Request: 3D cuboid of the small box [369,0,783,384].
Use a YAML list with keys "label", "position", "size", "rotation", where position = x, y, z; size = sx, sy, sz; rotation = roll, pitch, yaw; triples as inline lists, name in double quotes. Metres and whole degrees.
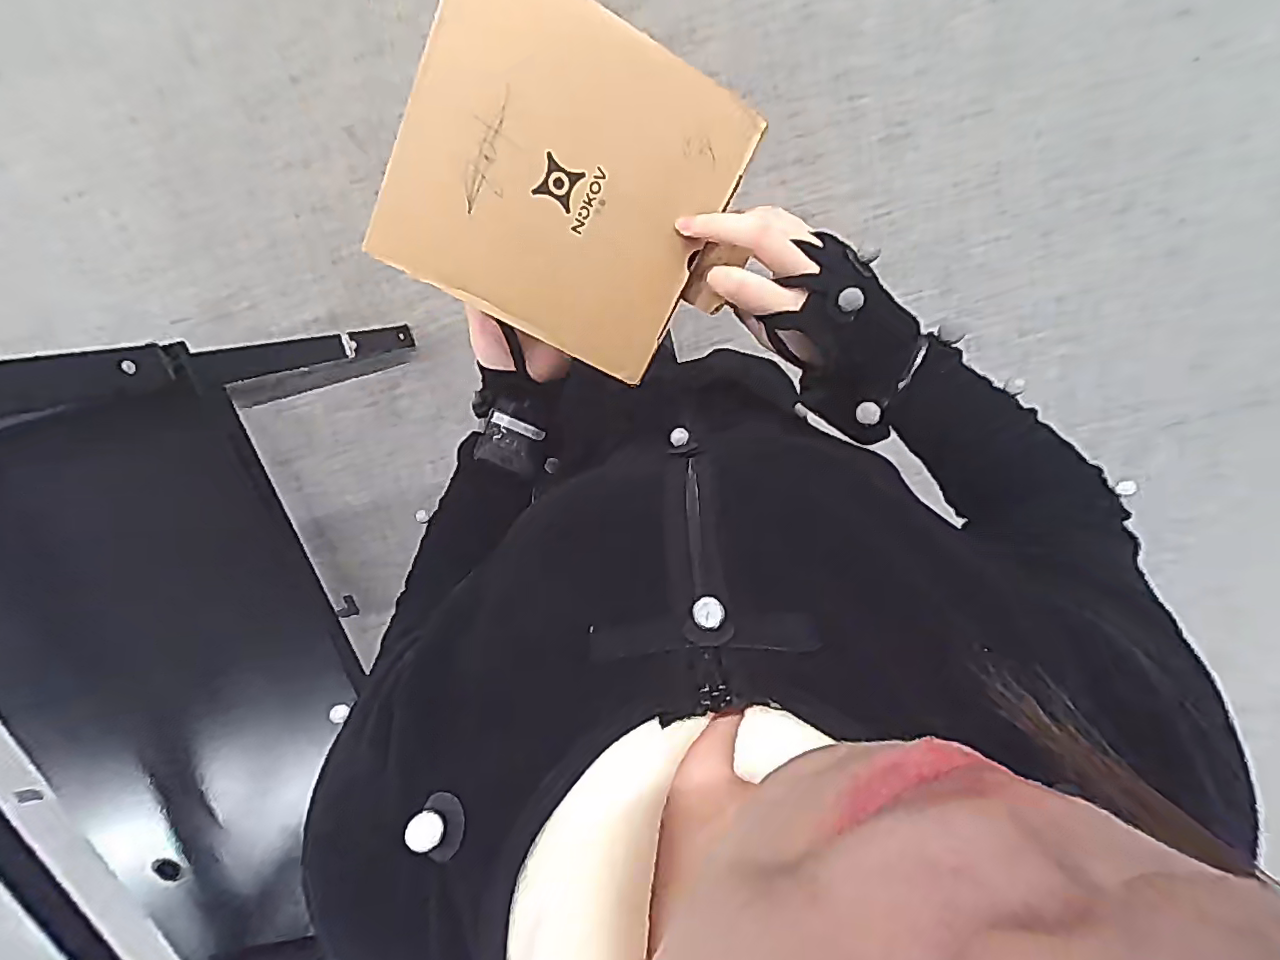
- label: "small box"
  position: [-0.042, -0.190, 0.366]
  size: [0.179, 0.176, 0.168]
  rotation: [25, 106, -14]
